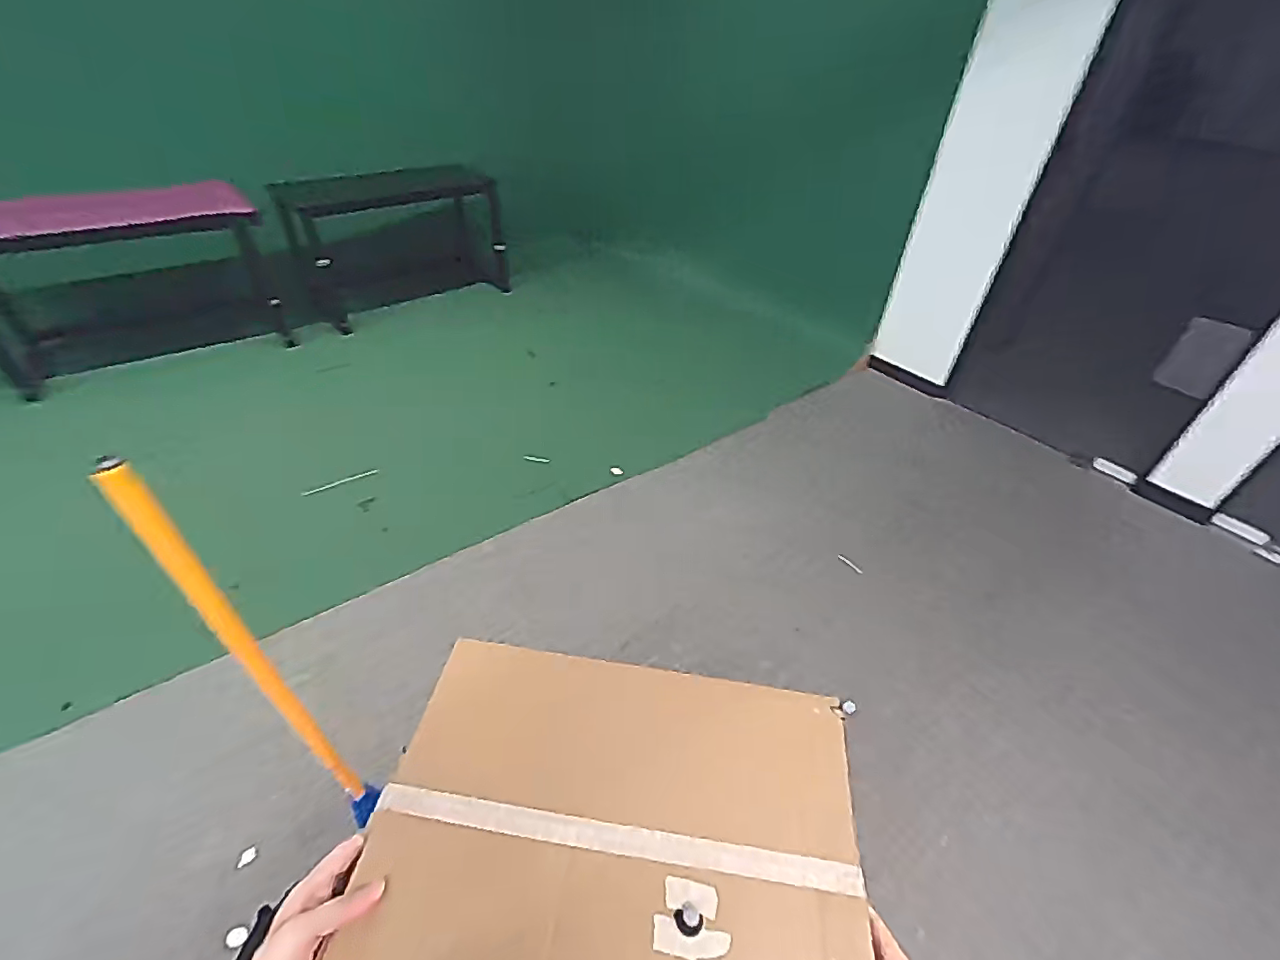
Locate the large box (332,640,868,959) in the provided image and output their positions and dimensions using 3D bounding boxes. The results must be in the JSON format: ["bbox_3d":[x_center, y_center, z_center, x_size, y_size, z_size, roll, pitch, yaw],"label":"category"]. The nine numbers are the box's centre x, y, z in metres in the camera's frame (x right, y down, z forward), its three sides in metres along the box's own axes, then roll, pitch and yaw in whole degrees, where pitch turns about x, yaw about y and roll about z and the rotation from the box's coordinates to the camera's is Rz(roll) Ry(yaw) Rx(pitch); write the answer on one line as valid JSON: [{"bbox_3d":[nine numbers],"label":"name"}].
[{"bbox_3d":[-0.023,0.409,0.566,0.408,0.320,0.320,9,44,4],"label":"large box"}]
